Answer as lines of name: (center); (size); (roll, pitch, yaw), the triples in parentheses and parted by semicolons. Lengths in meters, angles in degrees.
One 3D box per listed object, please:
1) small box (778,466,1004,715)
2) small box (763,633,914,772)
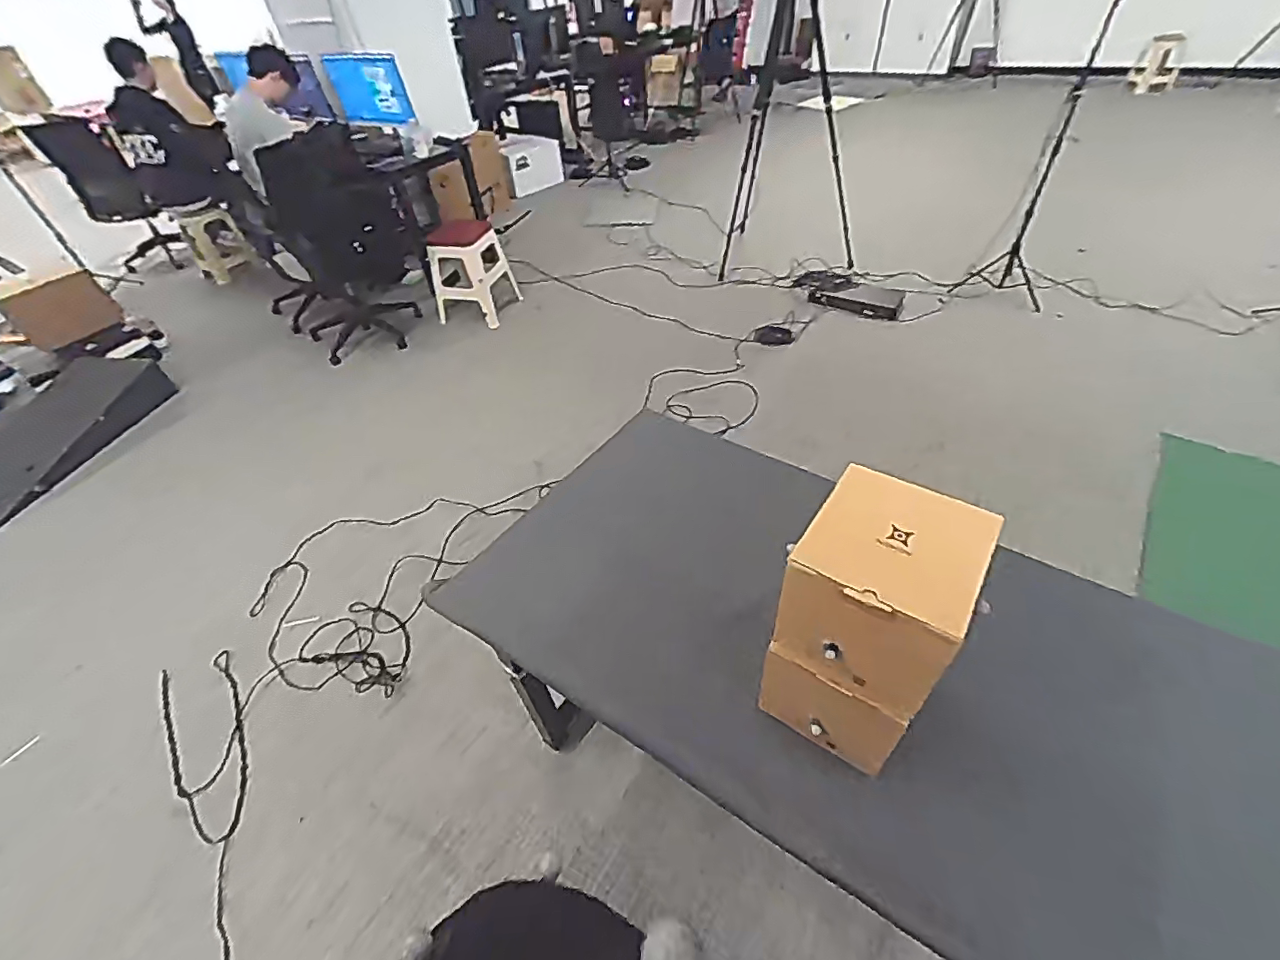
small box: (0.269, 0.121, 0.609); (0.168, 0.176, 0.179); (25, 51, 27)
small box: (0.275, 0.241, 0.717); (0.168, 0.176, 0.179); (25, 51, 28)
